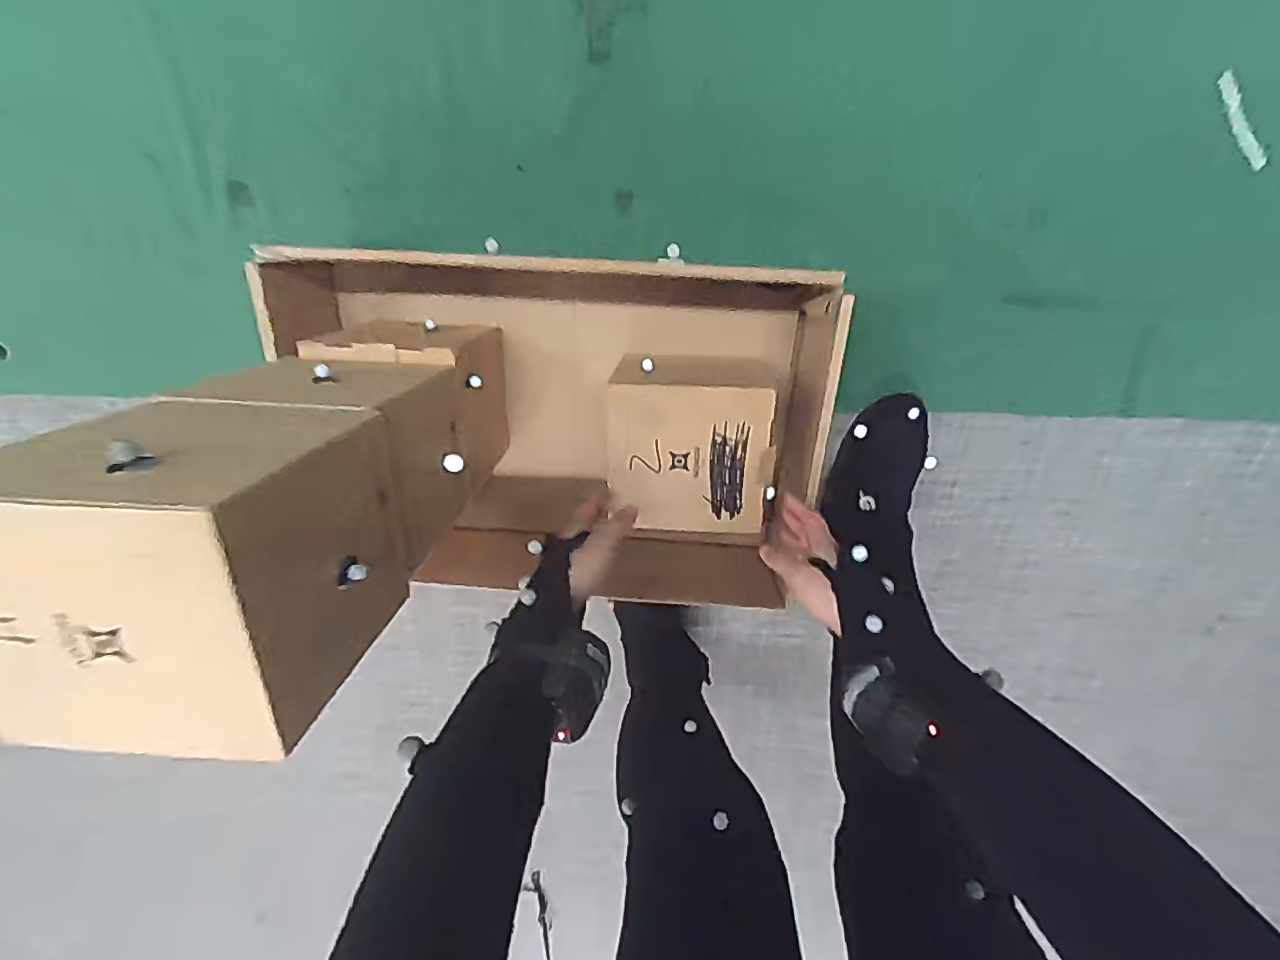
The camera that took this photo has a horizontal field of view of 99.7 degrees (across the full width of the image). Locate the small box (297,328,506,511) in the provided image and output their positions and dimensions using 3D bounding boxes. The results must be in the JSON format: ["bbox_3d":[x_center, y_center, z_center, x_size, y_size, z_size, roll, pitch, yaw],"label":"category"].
[{"bbox_3d":[-0.269,-0.080,0.658,0.168,0.176,0.179,2,114,2],"label":"small box"}]

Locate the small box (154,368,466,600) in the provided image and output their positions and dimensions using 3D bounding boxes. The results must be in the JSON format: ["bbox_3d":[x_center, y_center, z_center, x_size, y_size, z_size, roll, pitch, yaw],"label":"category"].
[{"bbox_3d":[-0.283,-0.006,0.512,0.179,0.176,0.168,3,114,1],"label":"small box"}]
